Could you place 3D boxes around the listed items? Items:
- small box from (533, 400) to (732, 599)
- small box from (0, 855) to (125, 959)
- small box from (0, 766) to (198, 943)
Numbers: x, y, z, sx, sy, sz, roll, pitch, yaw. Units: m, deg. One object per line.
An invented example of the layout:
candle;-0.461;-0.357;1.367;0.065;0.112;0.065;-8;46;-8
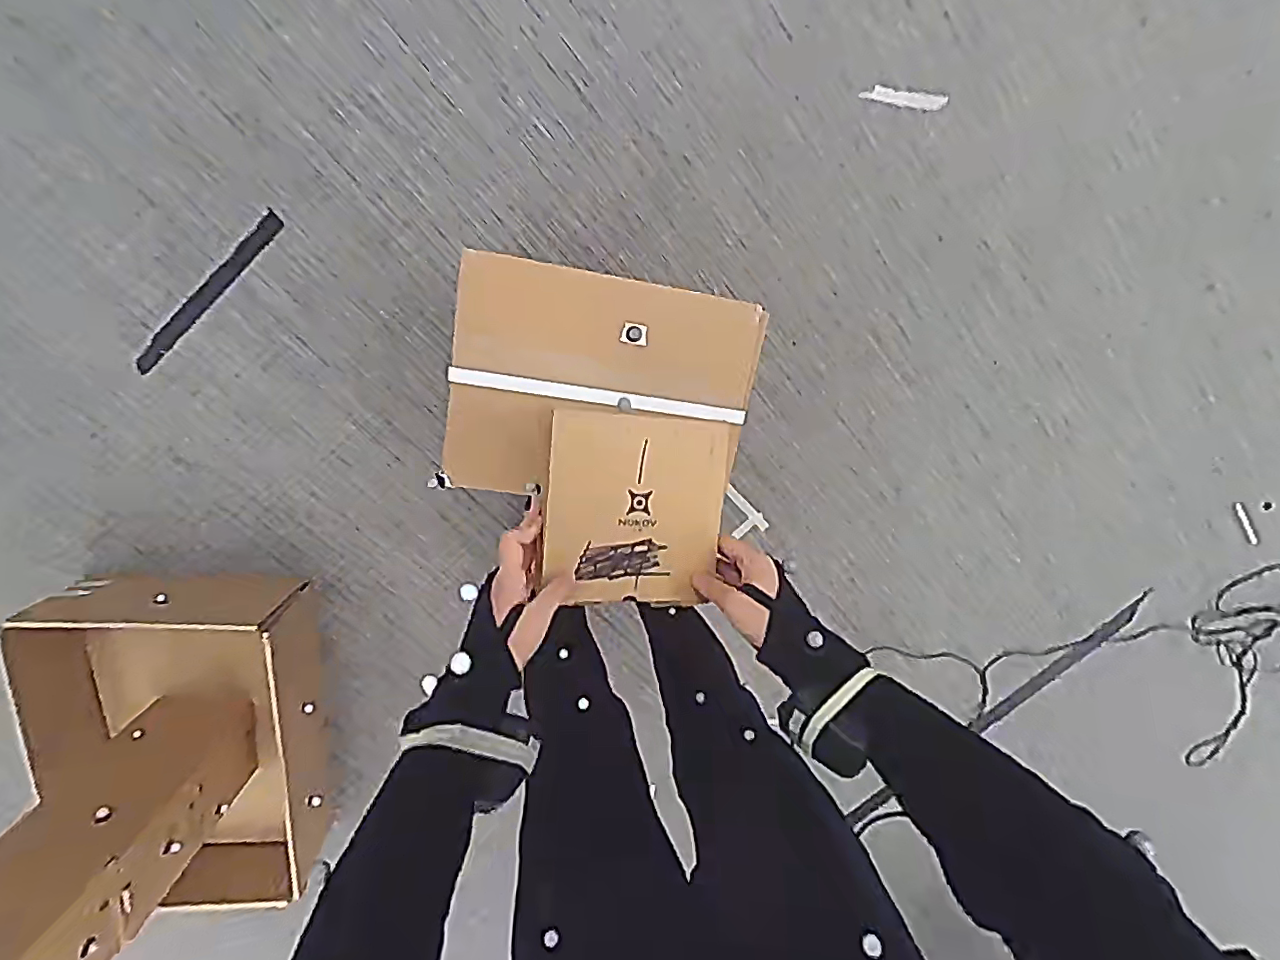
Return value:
small box;-0.021;0.012;0.568;0.168;0.176;0.179;4;97;-15
small box;-0.820;0.613;0.686;0.179;0.176;0.168;6;104;-9
small box;-0.832;0.576;0.845;0.179;0.176;0.168;7;104;-9
